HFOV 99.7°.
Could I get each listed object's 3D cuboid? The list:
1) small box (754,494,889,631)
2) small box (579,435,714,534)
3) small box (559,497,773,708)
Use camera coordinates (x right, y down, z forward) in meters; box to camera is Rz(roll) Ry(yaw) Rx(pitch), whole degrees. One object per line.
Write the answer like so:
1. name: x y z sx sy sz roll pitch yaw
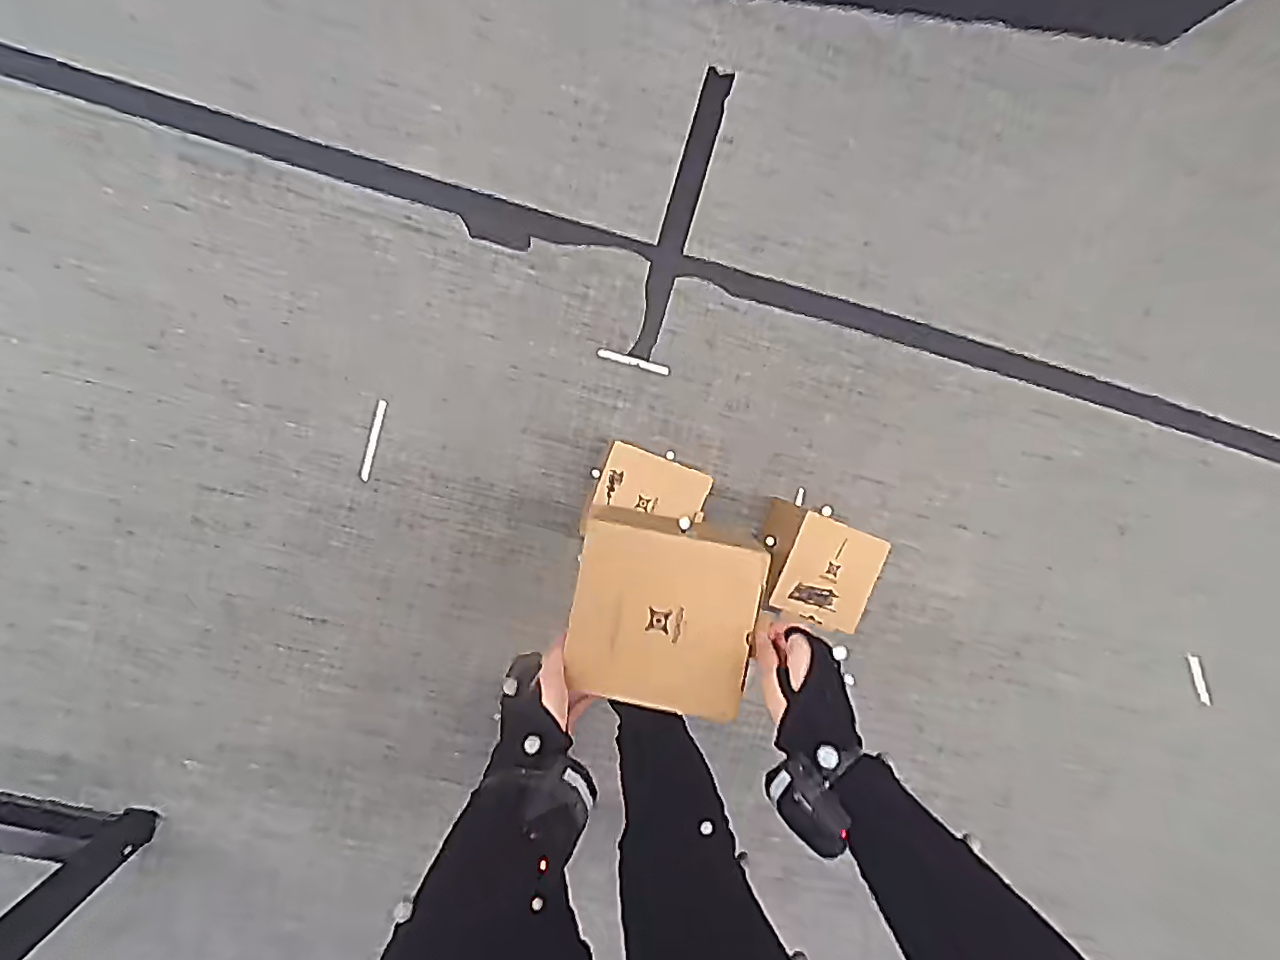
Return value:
1. small box: 0.310 0.142 0.989 0.168 0.176 0.179 22 94 -8
2. small box: 0.002 0.026 0.943 0.179 0.176 0.168 21 94 -9
3. small box: 0.026 0.116 0.585 0.179 0.176 0.168 11 92 1
